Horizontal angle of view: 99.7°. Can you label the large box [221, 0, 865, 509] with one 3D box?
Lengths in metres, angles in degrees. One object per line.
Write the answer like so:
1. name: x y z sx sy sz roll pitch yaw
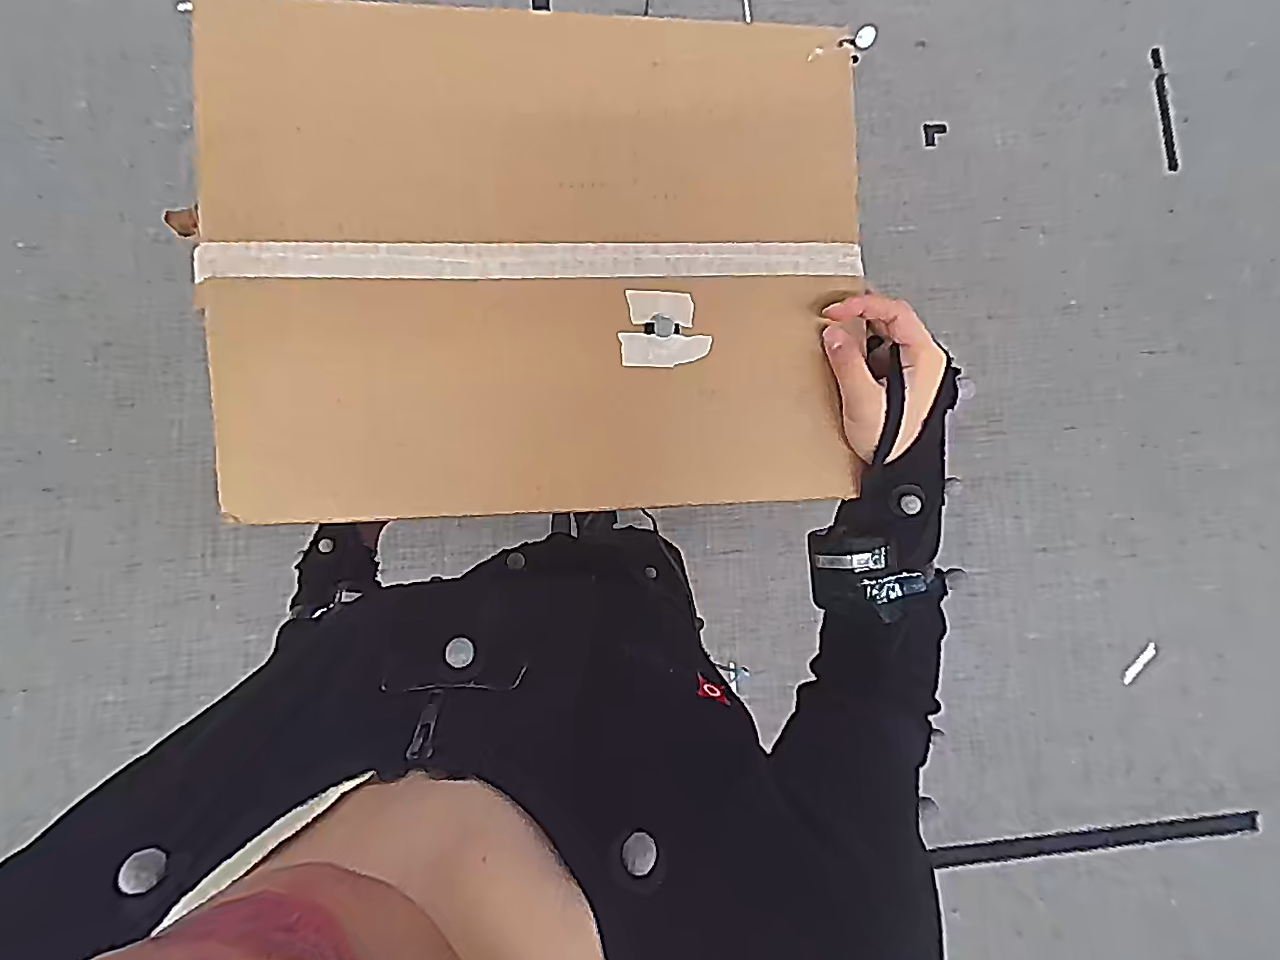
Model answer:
1. large box: -0.067 -0.148 0.495 0.408 0.320 0.320 -2 92 -8
